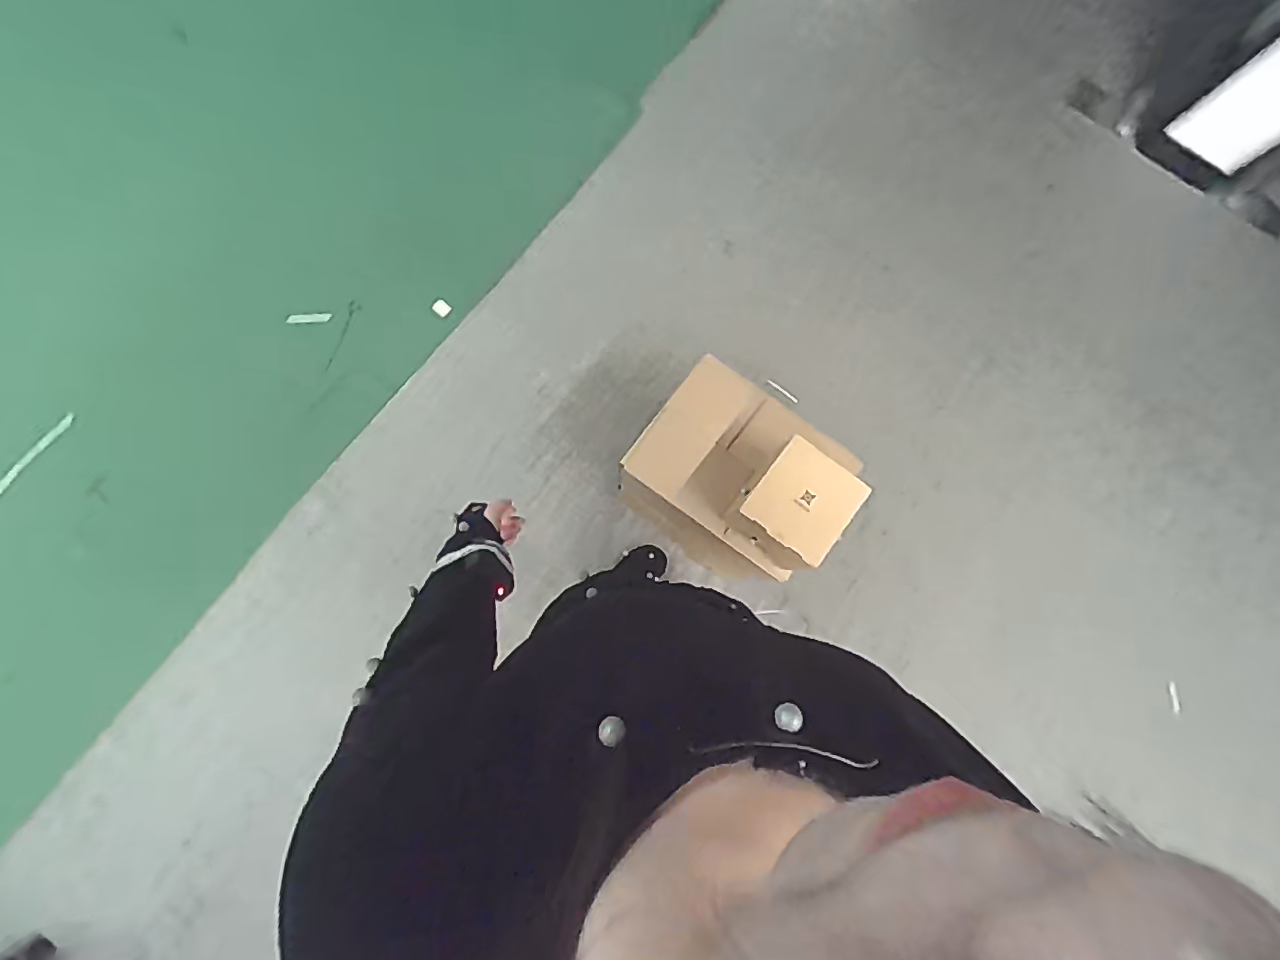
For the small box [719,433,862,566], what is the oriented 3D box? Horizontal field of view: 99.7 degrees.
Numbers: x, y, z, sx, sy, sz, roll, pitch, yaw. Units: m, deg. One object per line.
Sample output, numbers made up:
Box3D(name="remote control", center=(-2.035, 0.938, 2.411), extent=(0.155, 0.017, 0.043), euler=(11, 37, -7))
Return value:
Box3D(name="small box", center=(0.269, 0.042, 1.011), extent=(0.168, 0.176, 0.179), euler=(39, 82, 3))
